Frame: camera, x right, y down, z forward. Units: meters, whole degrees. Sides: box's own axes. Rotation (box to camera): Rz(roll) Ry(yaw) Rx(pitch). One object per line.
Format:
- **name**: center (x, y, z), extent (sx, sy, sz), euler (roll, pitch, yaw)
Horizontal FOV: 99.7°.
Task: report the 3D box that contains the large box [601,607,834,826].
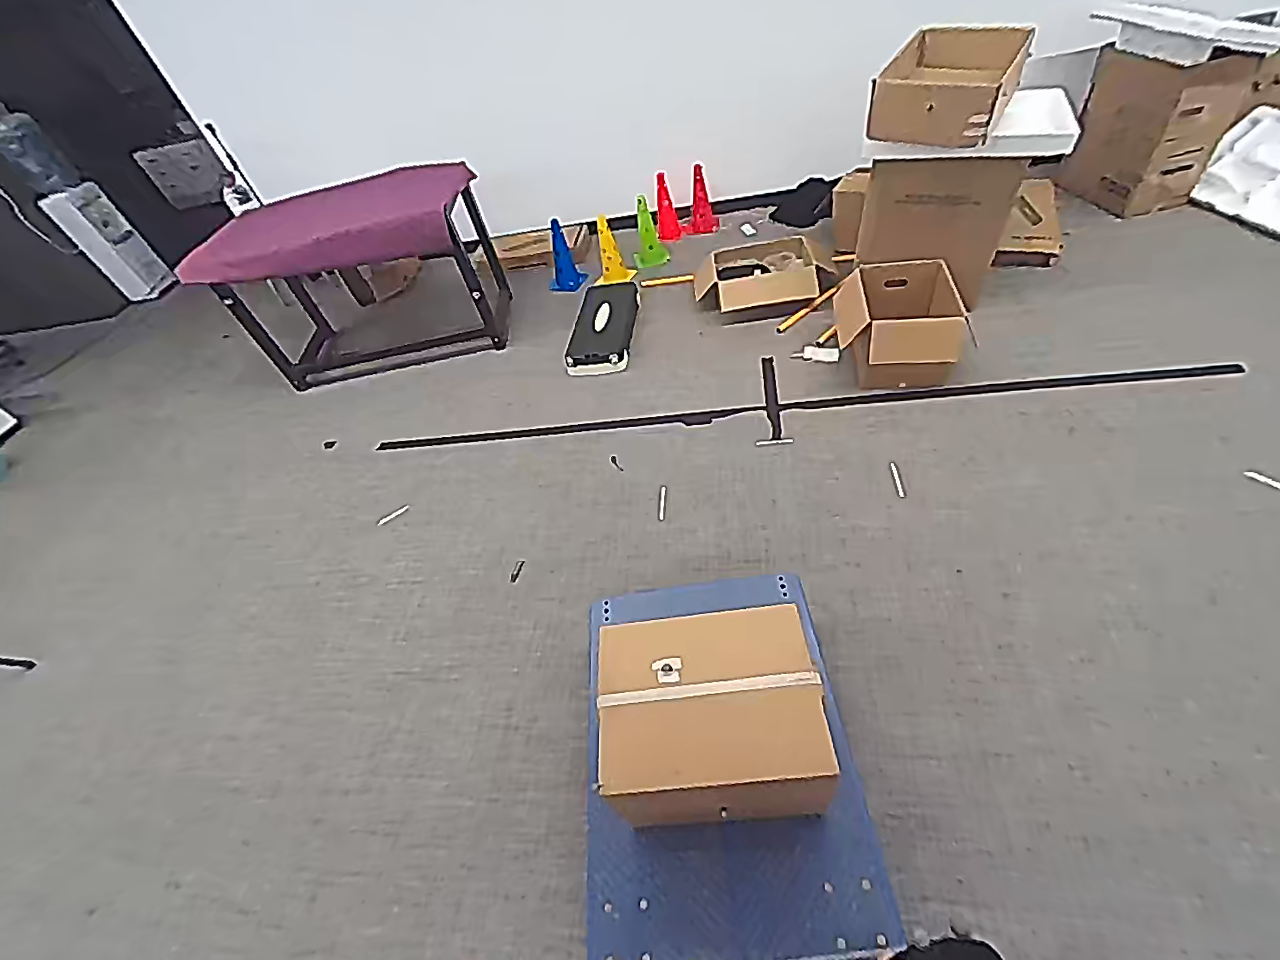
- **large box**: center (0.151, 0.500, 1.125), extent (0.408, 0.320, 0.320), euler (-10, 47, 7)
